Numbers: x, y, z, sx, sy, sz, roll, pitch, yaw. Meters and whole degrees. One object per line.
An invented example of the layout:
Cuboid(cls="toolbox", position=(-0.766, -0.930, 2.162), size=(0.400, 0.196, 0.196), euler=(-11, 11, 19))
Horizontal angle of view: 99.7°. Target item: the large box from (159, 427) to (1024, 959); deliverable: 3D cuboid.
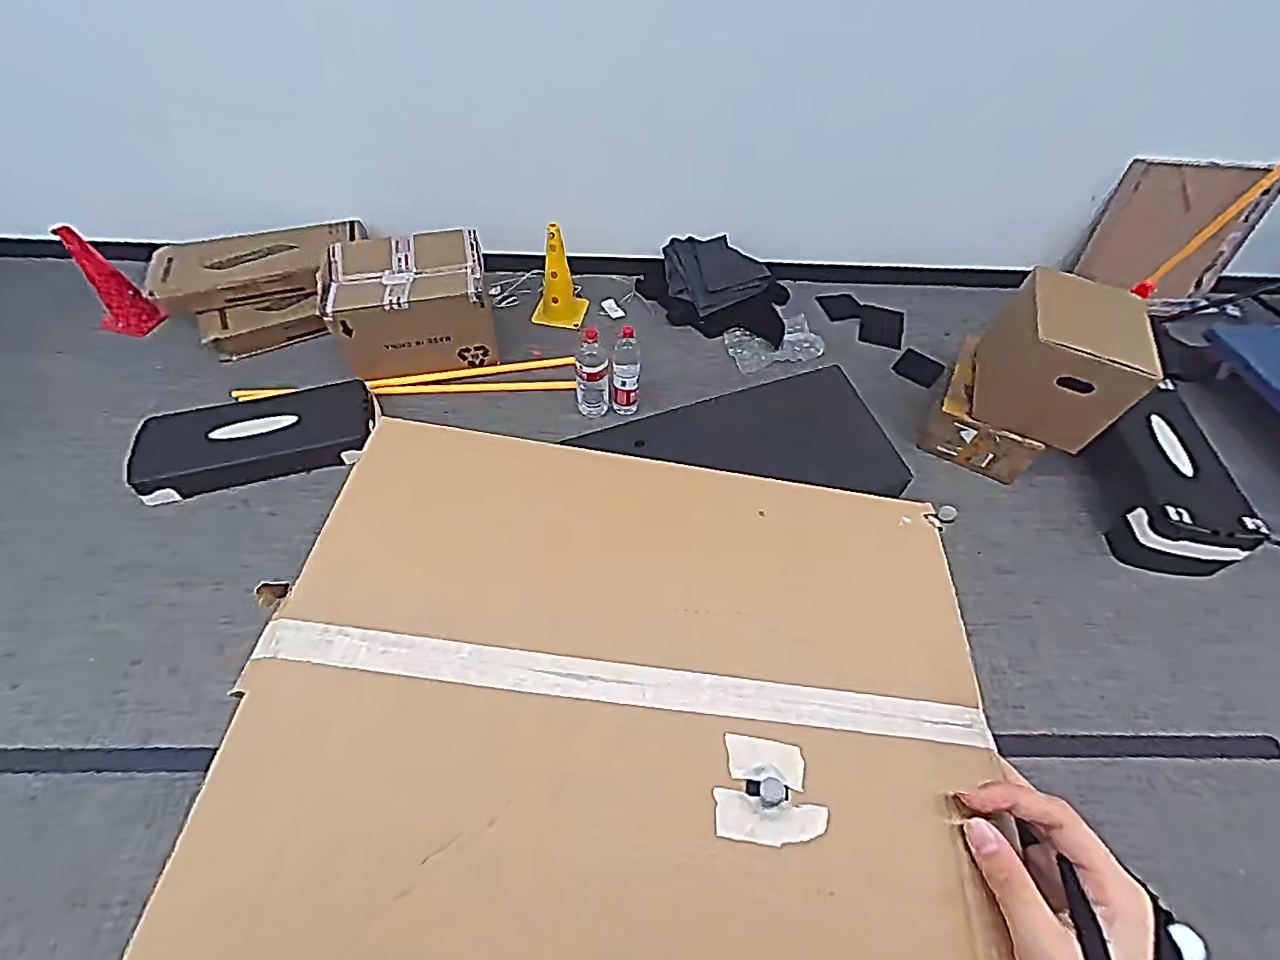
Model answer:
Cuboid(cls="large box", position=(-0.018, 0.197, 0.438), size=(0.408, 0.320, 0.320), euler=(10, 57, -4))
